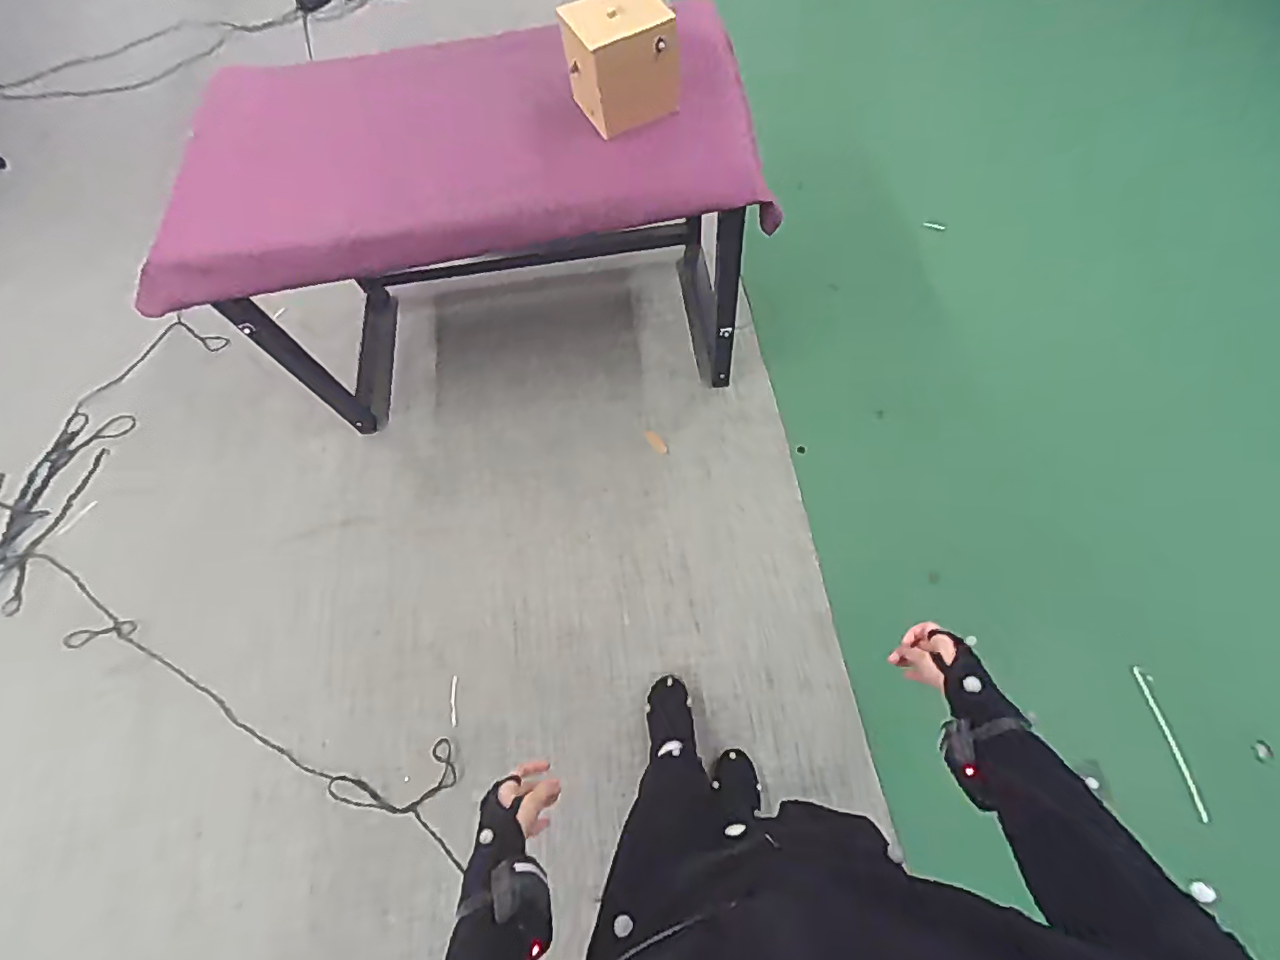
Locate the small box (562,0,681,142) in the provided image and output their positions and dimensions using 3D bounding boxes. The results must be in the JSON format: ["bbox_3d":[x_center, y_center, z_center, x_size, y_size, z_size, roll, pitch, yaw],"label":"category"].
[{"bbox_3d":[-0.029,-0.811,1.069,0.179,0.176,0.168,-25,66,-7],"label":"small box"}]
